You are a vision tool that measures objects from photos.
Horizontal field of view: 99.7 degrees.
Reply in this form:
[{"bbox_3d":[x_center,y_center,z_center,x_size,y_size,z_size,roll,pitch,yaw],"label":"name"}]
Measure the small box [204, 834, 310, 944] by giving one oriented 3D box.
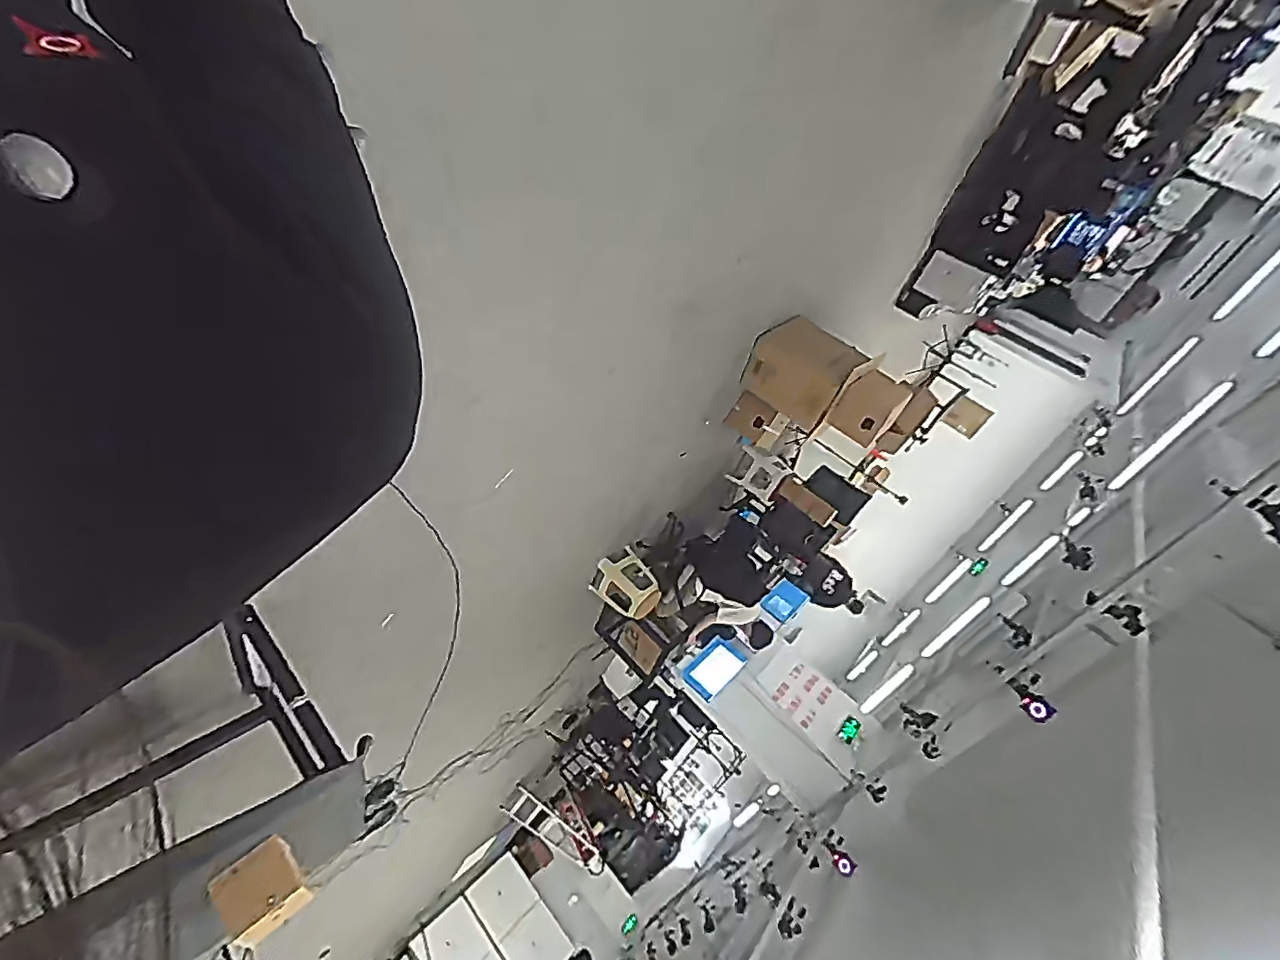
[{"bbox_3d":[-1.031,1.103,1.464,0.168,0.176,0.179,-31,154,-38],"label":"small box"}]
